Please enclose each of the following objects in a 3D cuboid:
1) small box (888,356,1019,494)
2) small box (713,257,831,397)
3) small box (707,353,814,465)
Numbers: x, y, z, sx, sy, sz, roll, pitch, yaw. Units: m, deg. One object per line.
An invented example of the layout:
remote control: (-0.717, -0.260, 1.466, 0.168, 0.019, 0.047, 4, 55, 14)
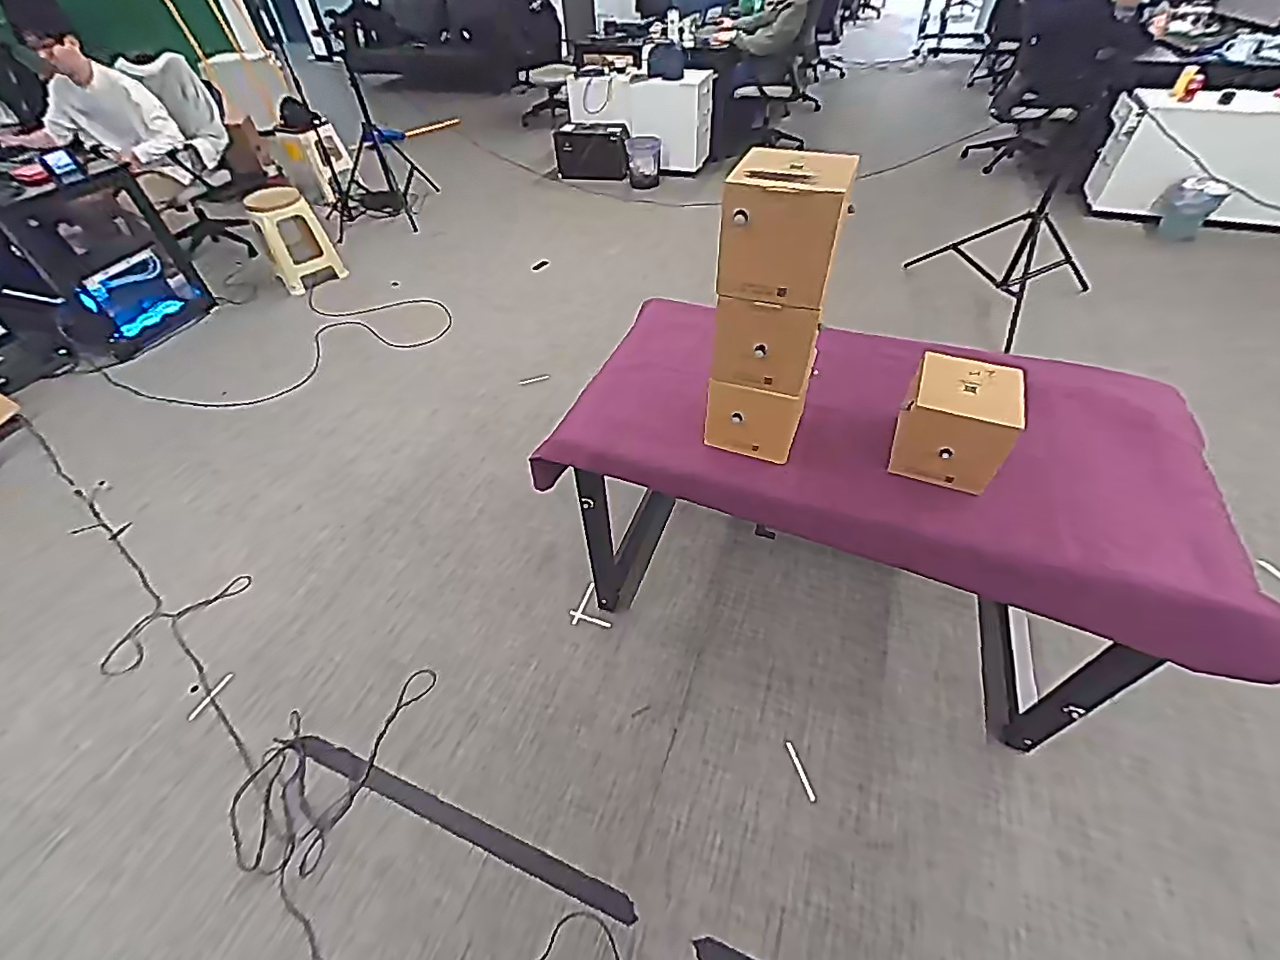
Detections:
small box: (0.581, -0.101, 1.014, 0.168, 0.176, 0.179, 17, 50, 17)
small box: (0.232, -0.273, 0.968, 0.168, 0.176, 0.179, 14, 49, 15)
small box: (0.237, -0.156, 1.083, 0.168, 0.176, 0.179, 16, 49, 16)
